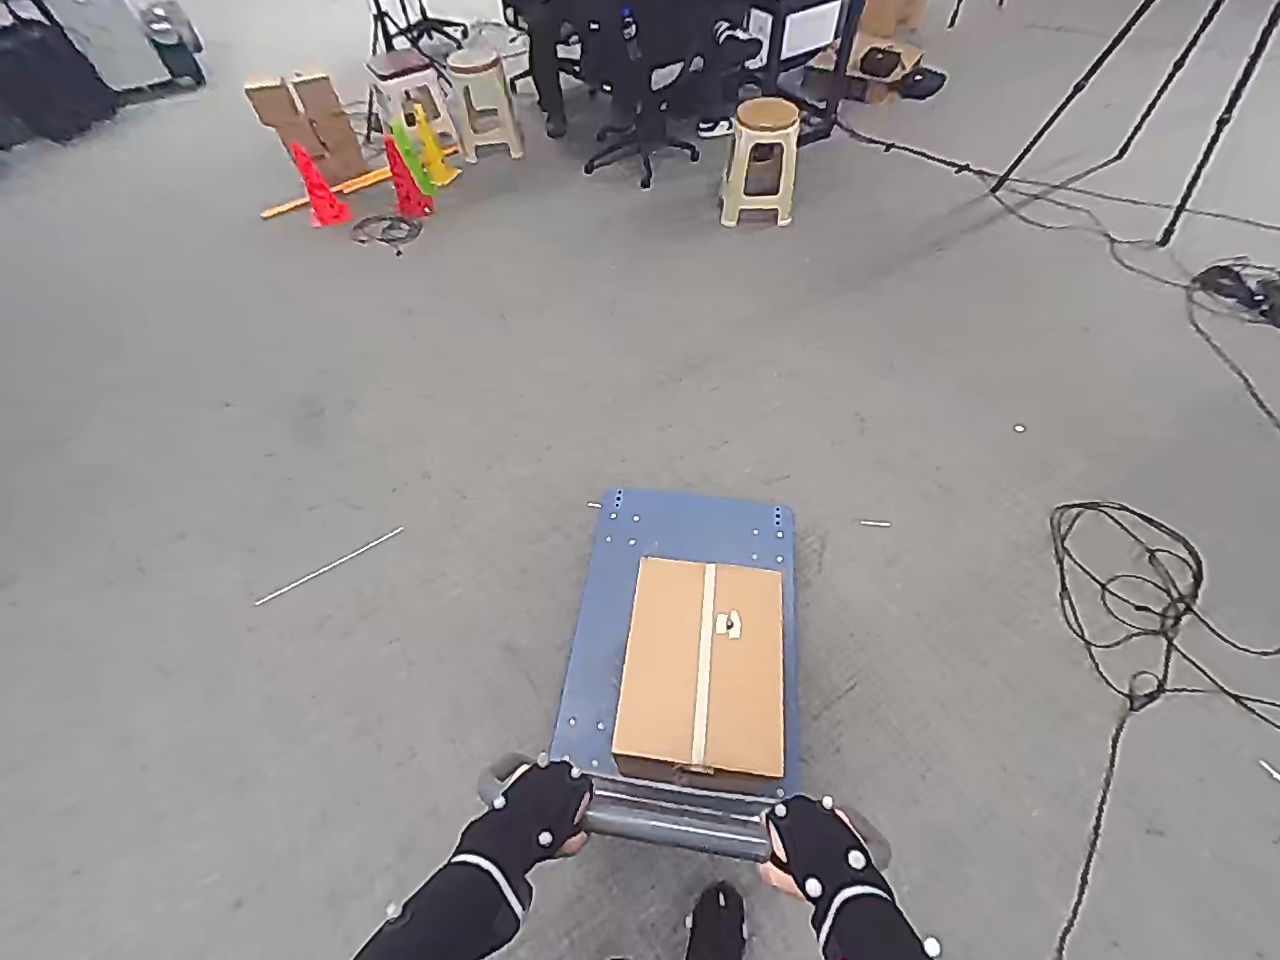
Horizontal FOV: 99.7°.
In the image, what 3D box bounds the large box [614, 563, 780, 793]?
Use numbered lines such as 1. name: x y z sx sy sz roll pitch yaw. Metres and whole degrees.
1. large box: 0.131 0.451 1.226 0.320 0.320 0.408 7 55 5
